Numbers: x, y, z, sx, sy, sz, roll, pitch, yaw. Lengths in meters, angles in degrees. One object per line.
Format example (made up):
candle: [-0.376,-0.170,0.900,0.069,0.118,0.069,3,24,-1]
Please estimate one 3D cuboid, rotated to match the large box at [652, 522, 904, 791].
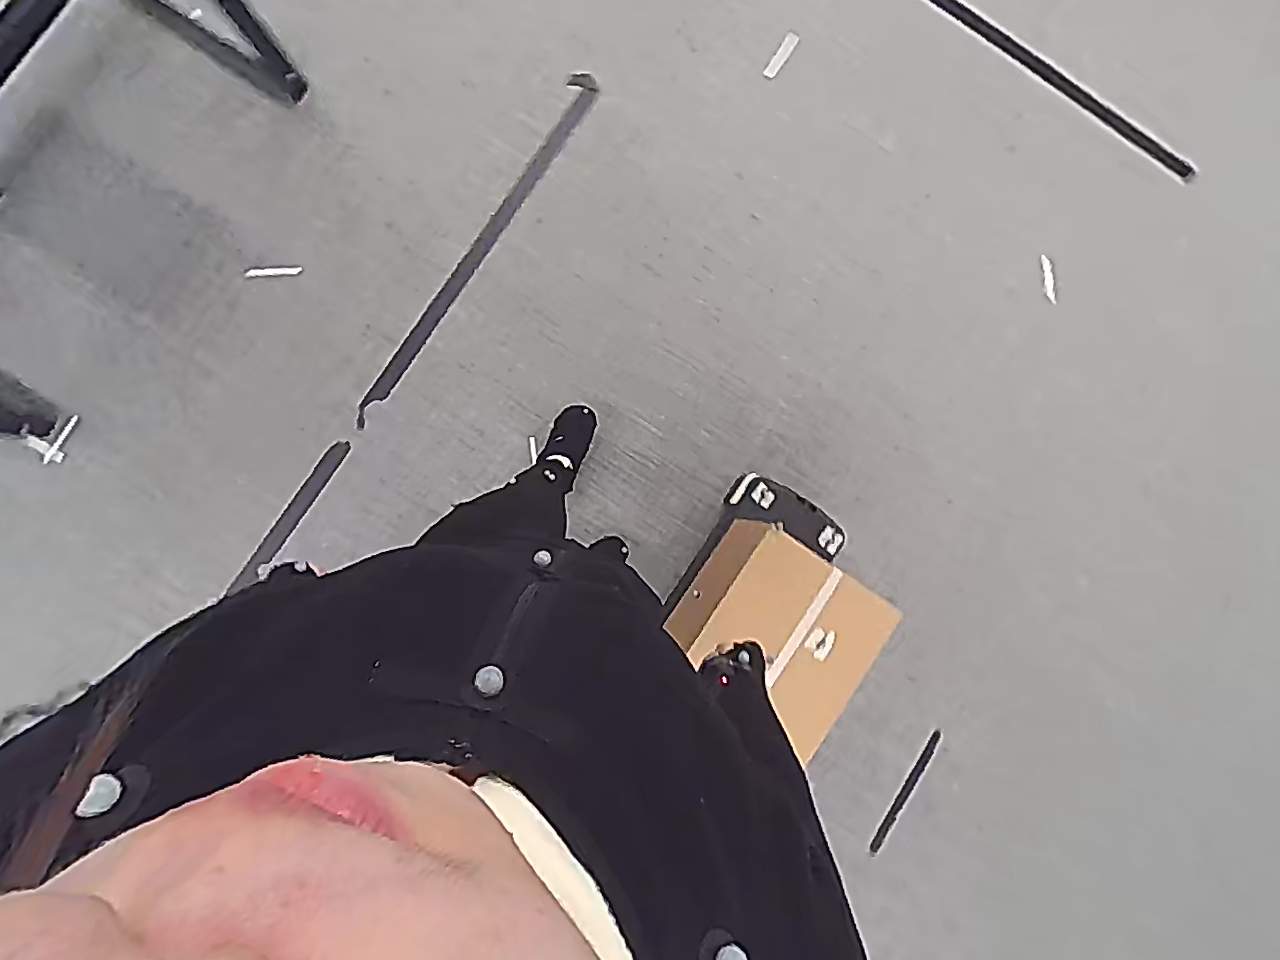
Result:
large box: [0.264,0.340,1.160,0.320,0.320,0.408,35,86,-2]
